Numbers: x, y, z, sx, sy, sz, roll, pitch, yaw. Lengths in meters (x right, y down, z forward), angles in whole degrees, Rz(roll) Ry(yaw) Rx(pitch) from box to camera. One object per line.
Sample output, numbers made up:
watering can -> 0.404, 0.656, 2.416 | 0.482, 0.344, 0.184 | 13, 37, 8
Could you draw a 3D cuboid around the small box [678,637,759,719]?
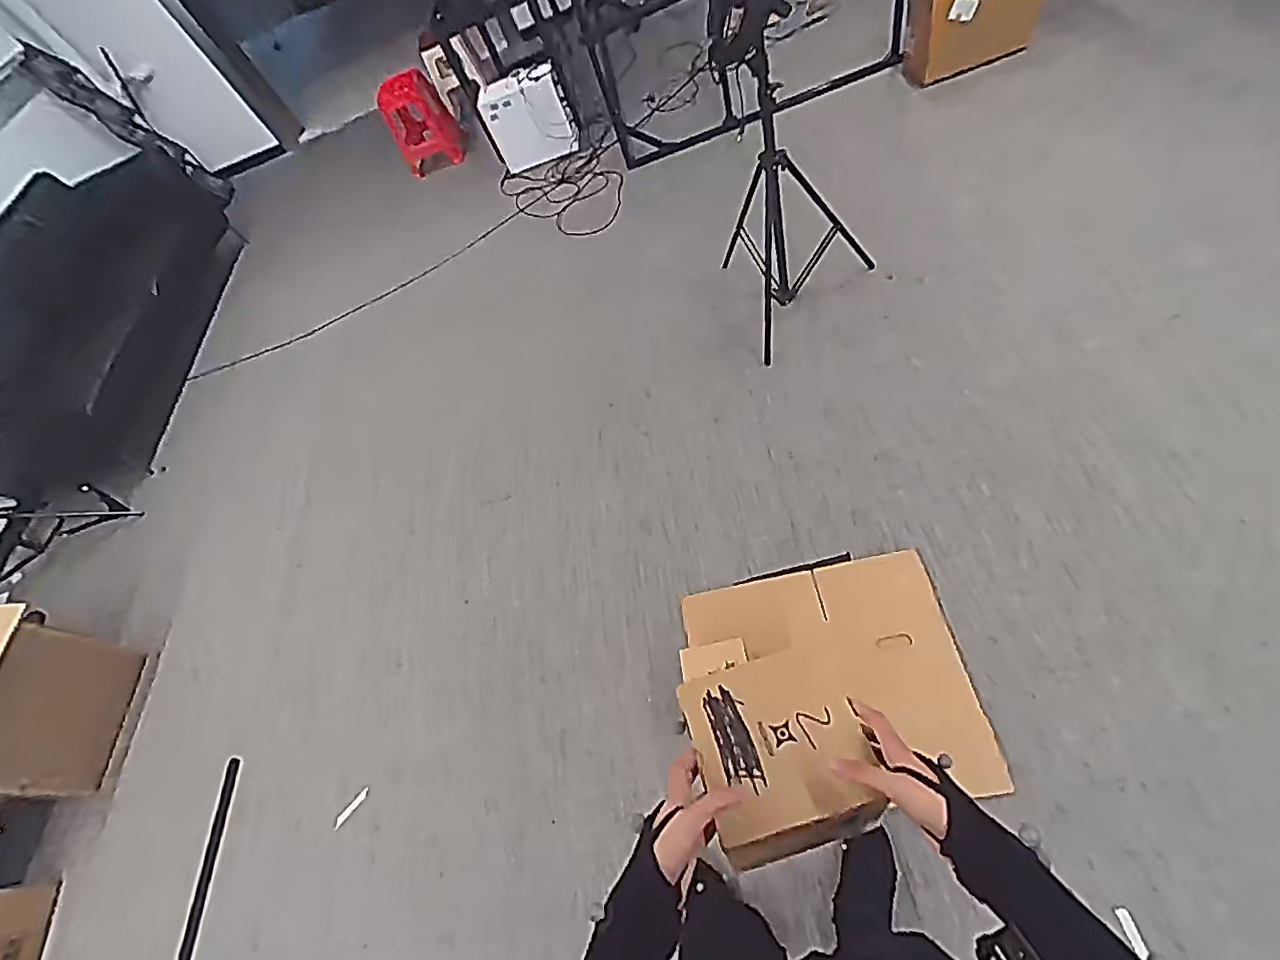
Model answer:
small box -> 0.214, 0.532, 1.443 | 0.179, 0.176, 0.168 | -15, 57, 12
